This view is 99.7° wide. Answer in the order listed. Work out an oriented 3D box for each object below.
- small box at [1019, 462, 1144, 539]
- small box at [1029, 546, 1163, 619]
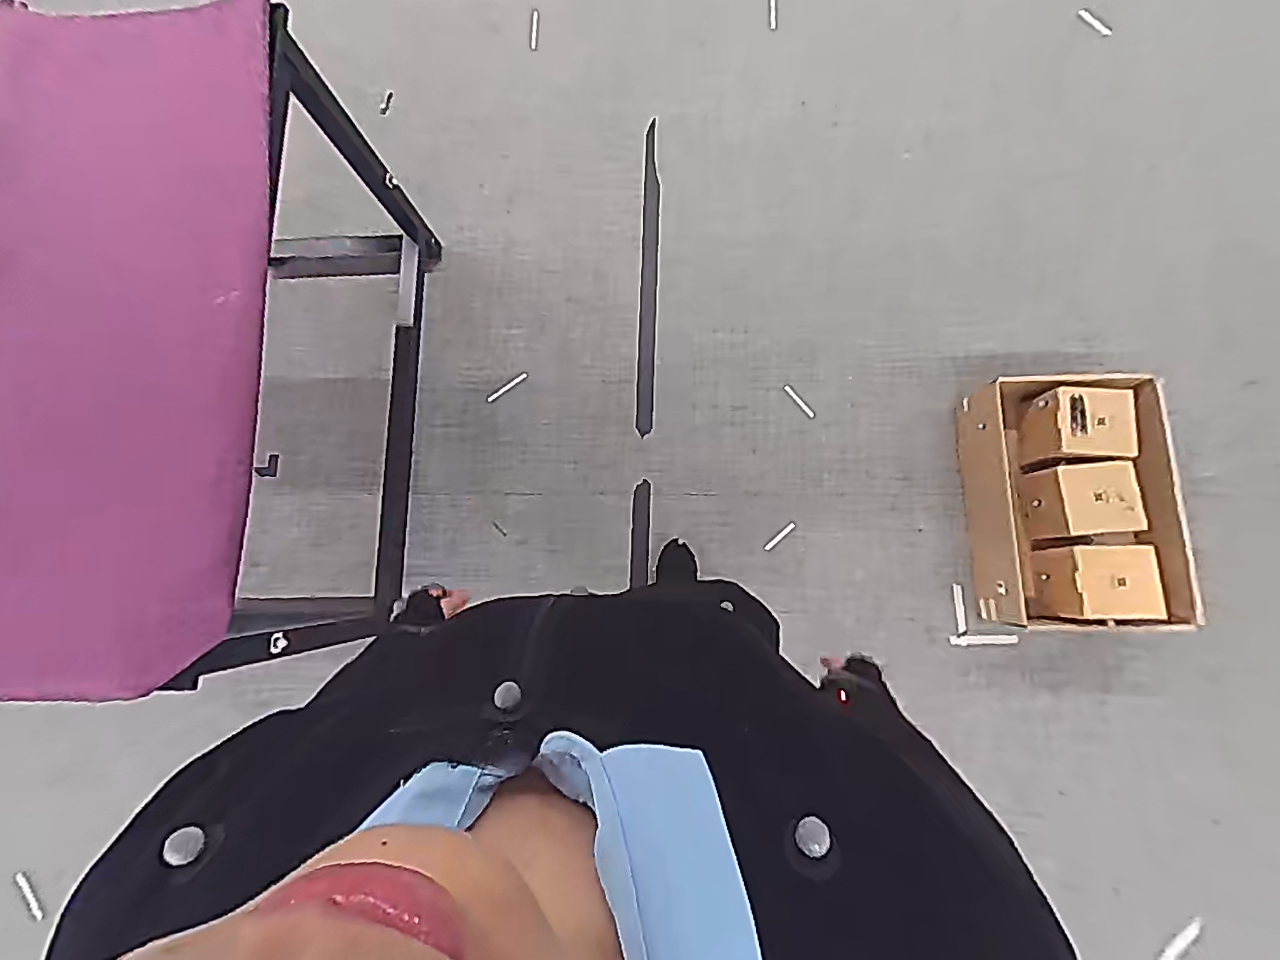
[{"bbox_3d":[1.083,0.056,1.348,0.179,0.176,0.168,-5,81,3],"label":"small box"},{"bbox_3d":[1.096,0.249,1.313,0.179,0.176,0.168,-1,78,4],"label":"small box"}]
